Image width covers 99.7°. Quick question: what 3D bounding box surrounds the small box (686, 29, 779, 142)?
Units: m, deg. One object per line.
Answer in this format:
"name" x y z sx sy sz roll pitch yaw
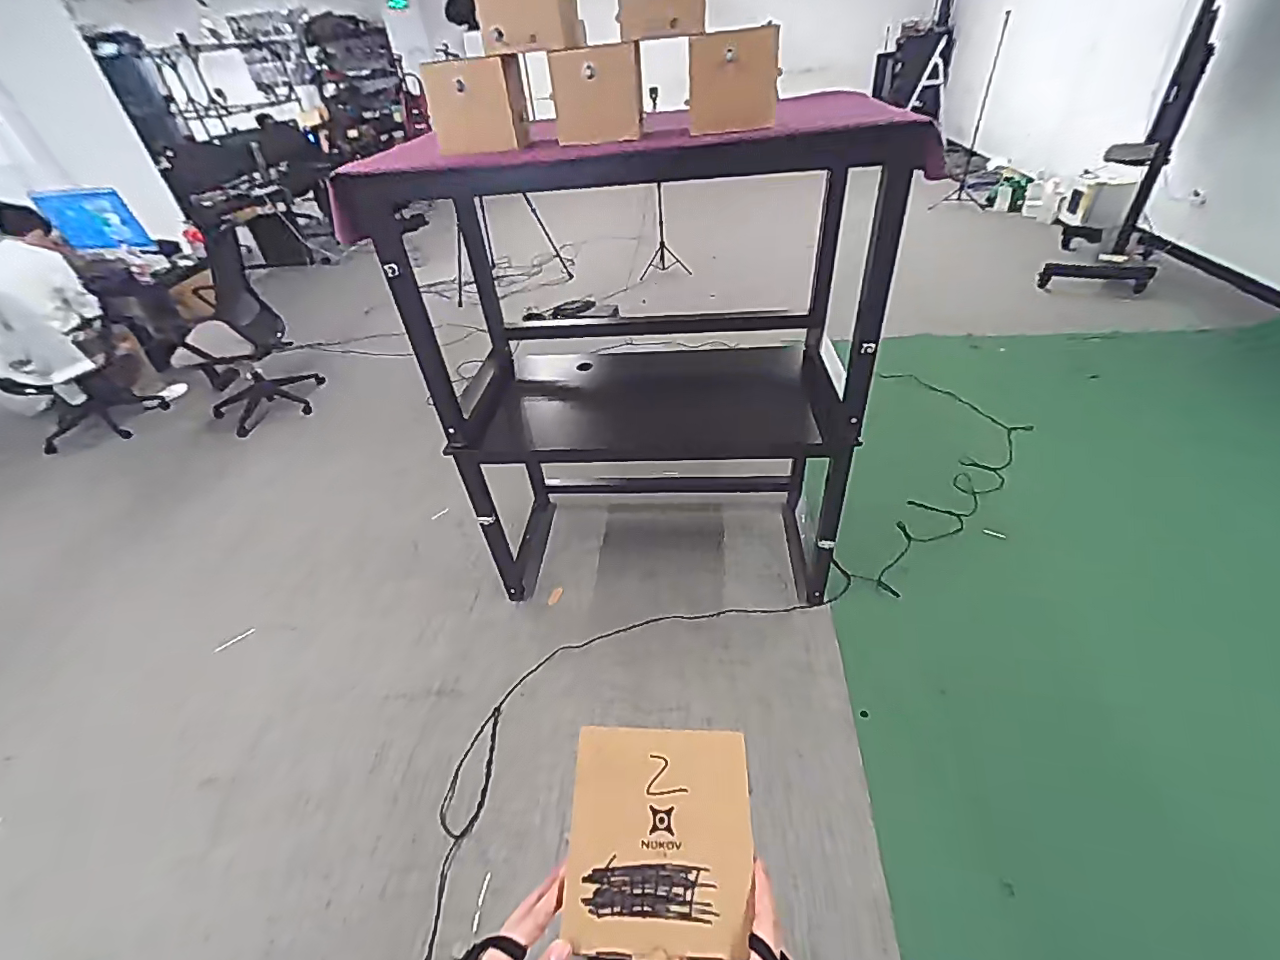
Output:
"small box" 0.188 -0.824 1.130 0.179 0.176 0.168 -2 39 8

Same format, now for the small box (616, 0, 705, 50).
"small box" 0.041 -0.952 1.049 0.168 0.176 0.179 -1 40 7

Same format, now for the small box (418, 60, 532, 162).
"small box" -0.354 -0.818 1.198 0.179 0.176 0.168 -2 40 5

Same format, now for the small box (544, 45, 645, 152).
"small box" -0.089 -0.816 1.160 0.179 0.176 0.168 -1 40 7

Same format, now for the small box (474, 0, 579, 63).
"small box" -0.226 -0.950 1.082 0.168 0.176 0.179 1 39 8
